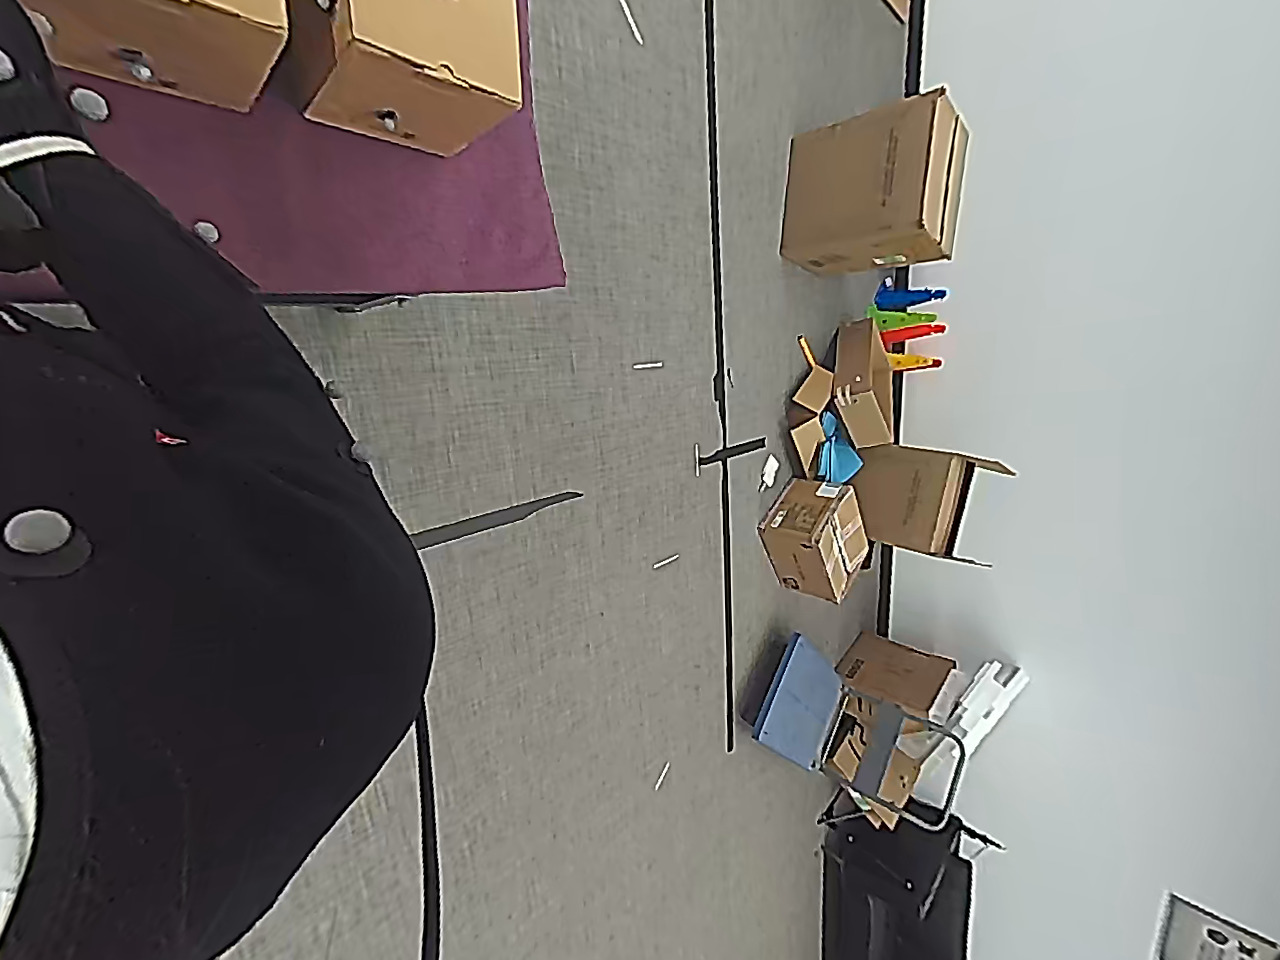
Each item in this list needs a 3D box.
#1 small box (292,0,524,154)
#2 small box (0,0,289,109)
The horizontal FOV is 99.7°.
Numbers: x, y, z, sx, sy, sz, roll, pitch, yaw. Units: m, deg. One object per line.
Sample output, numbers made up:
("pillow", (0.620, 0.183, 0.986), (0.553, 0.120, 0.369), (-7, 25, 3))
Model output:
("small box", (-0.237, -0.465, 0.542), (0.168, 0.176, 0.179), (-12, 105, -44))
("small box", (-0.385, -0.421, 0.399), (0.168, 0.176, 0.179), (-12, 105, -44))
